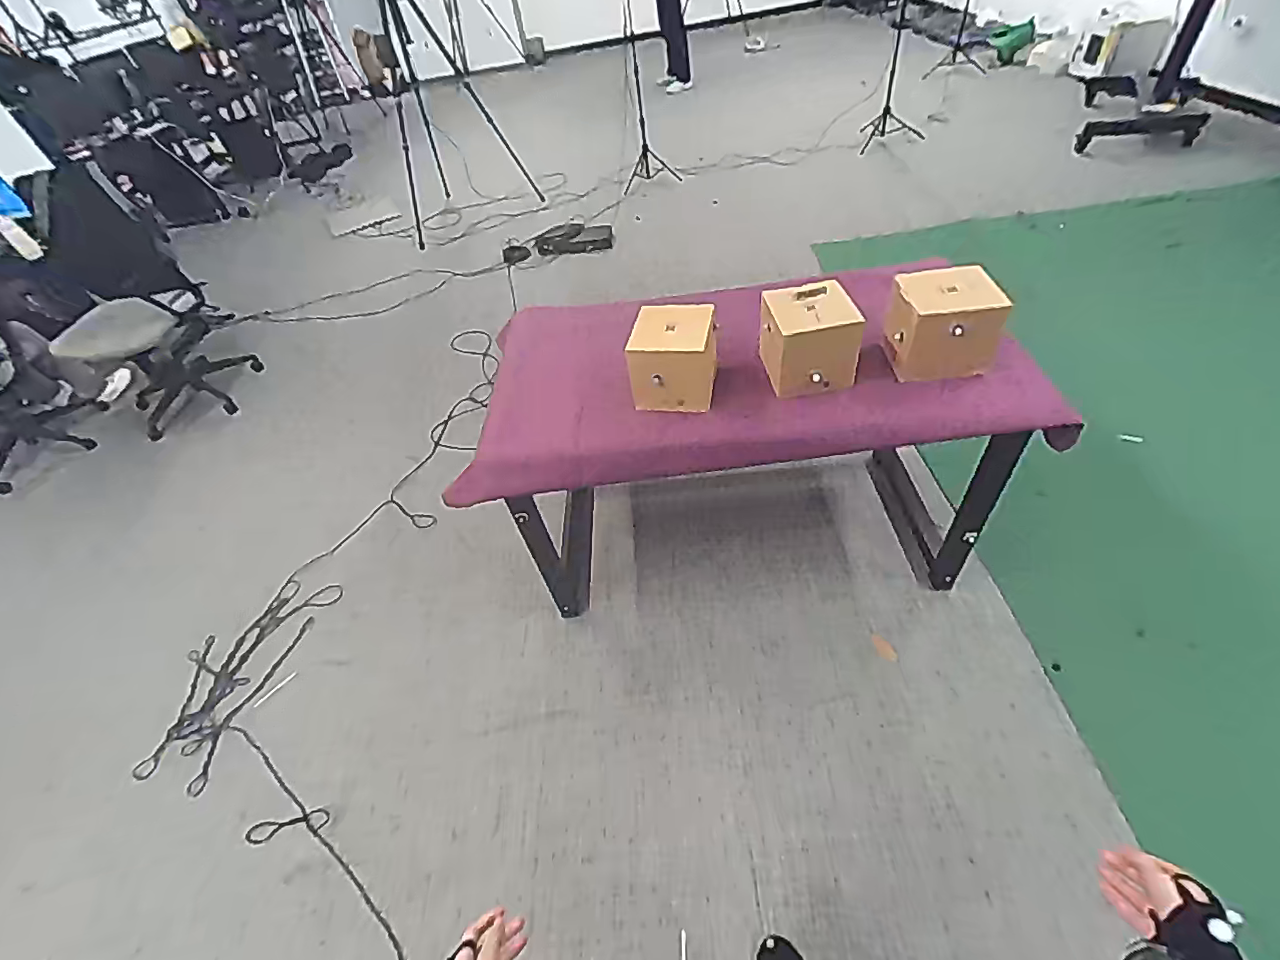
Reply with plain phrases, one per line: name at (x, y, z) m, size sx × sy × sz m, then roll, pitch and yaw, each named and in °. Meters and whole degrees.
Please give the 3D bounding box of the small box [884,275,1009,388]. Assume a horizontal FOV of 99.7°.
small box at (0.632, -0.311, 1.147) m, size 0.179 × 0.176 × 0.168 m, roll -3°, pitch 46°, yaw 7°

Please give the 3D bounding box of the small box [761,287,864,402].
small box at (0.364, -0.294, 1.179) m, size 0.168 × 0.176 × 0.179 m, roll -9°, pitch 47°, yaw 2°

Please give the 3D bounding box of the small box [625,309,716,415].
small box at (0.076, -0.260, 1.200) m, size 0.168 × 0.176 × 0.179 m, roll 4°, pitch 47°, yaw 14°
